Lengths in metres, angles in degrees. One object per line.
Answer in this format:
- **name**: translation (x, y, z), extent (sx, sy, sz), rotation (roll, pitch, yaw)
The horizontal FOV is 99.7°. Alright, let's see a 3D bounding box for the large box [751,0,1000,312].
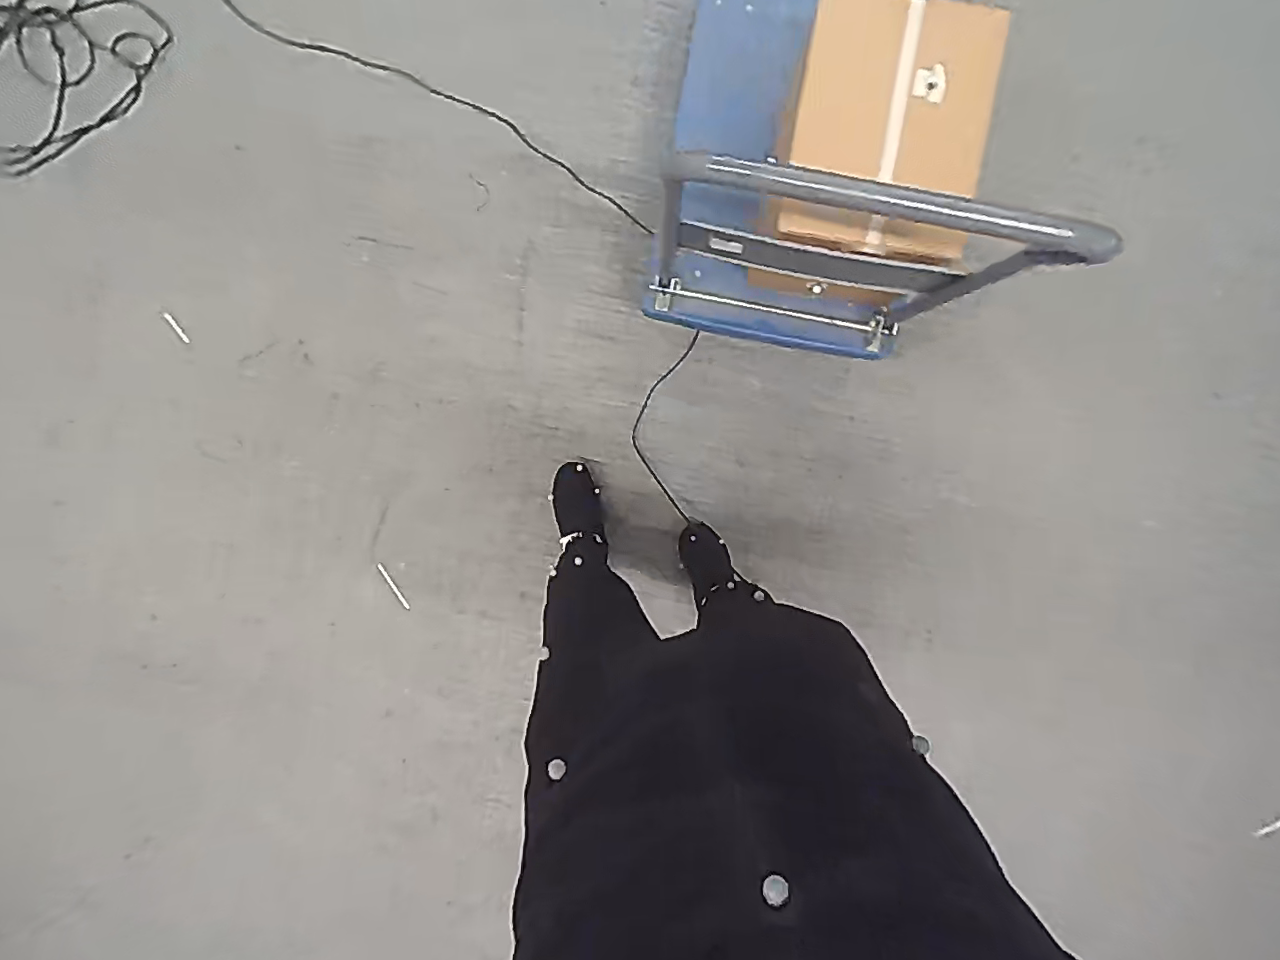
- **large box**: translation (0.419, -0.583, 1.049), extent (0.320, 0.320, 0.408), rotation (10, 92, 0)
